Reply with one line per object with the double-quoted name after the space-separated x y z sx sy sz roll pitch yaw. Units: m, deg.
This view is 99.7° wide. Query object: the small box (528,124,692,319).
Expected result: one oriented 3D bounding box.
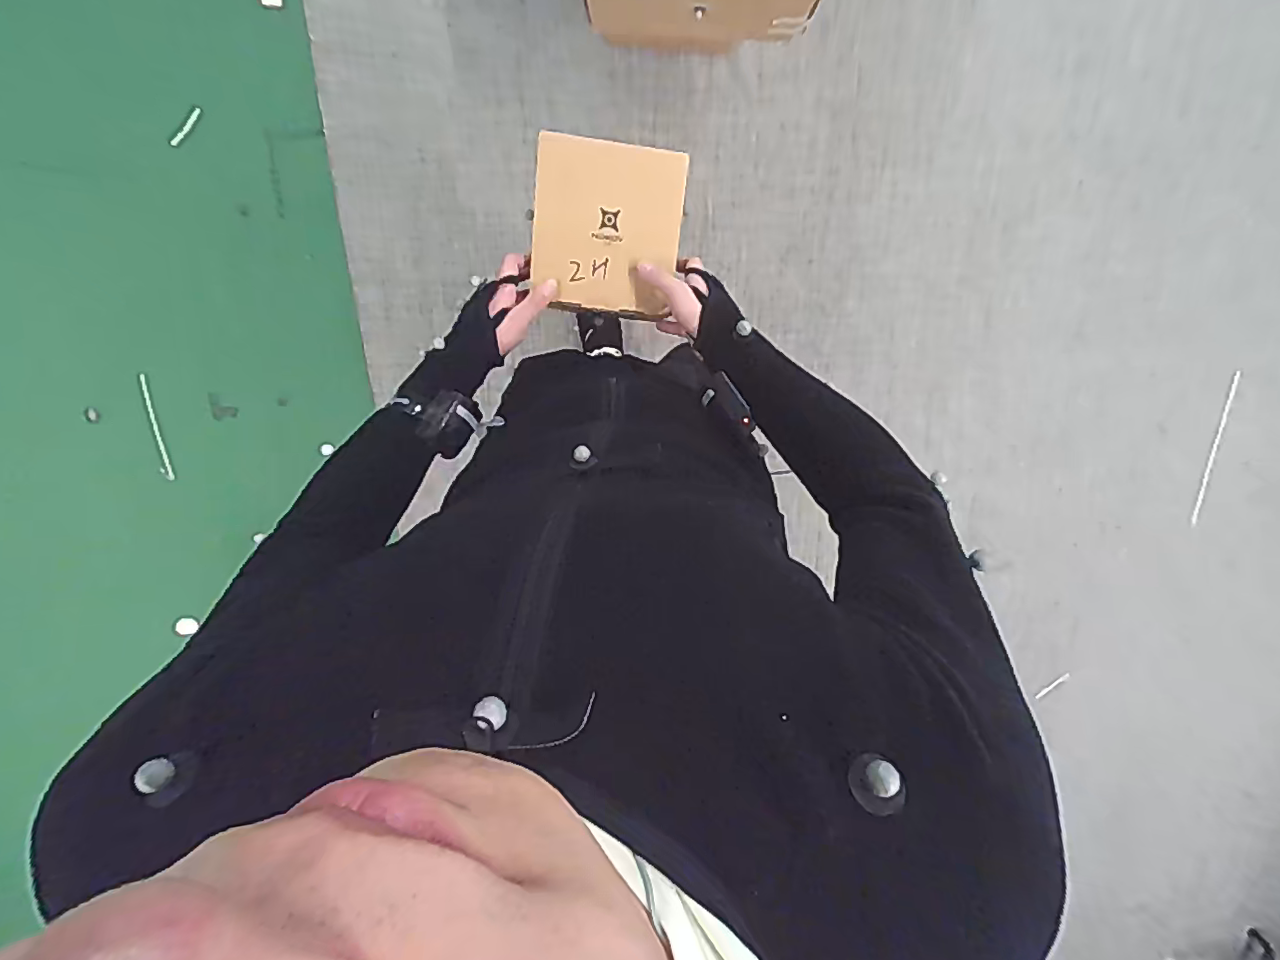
-0.042 -0.303 0.673 0.168 0.176 0.179 6 104 -6 "small box"
